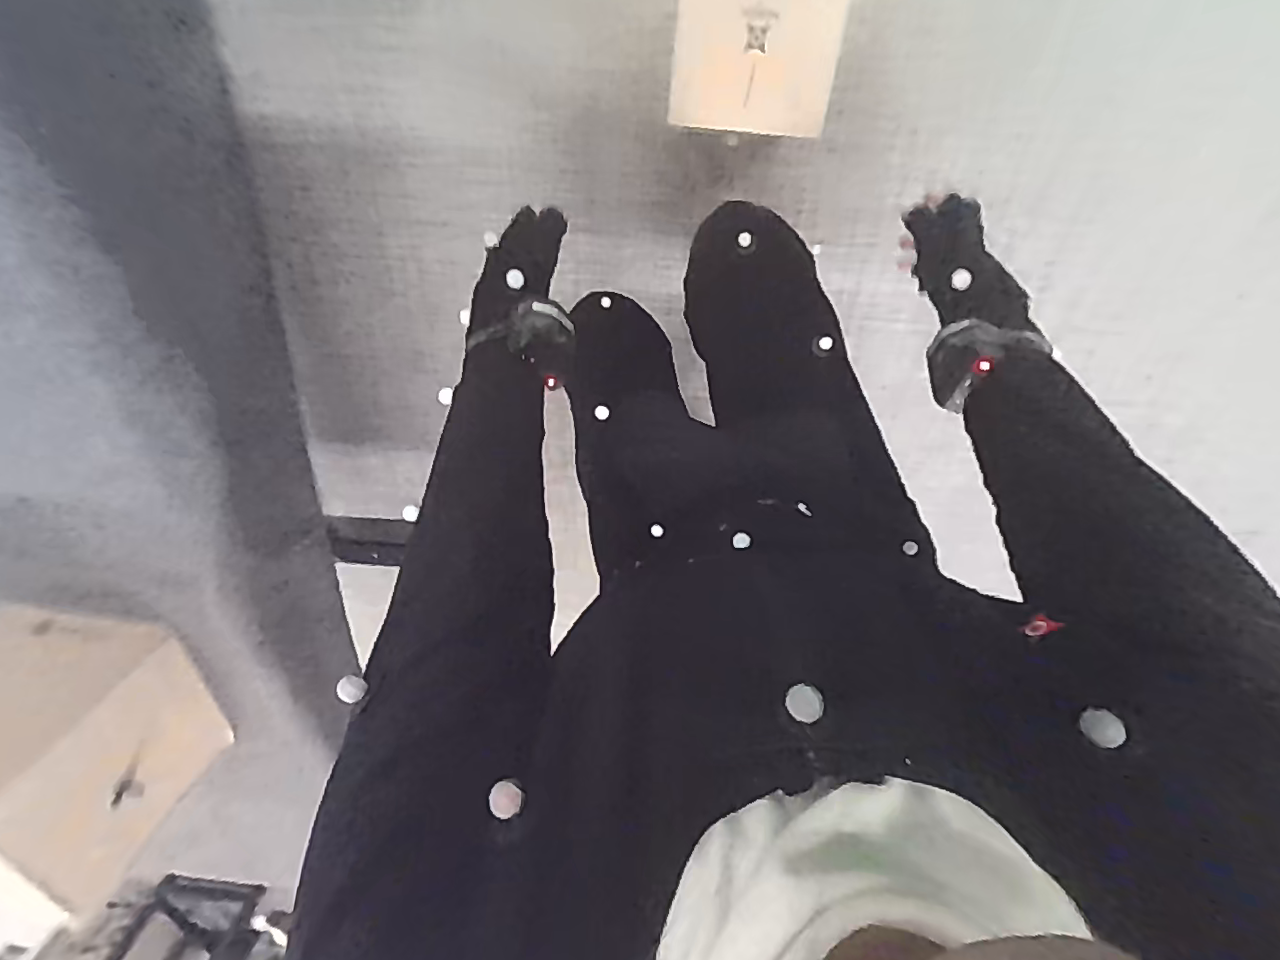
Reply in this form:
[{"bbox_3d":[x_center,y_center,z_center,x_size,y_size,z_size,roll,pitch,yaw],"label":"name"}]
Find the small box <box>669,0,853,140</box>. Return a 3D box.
[{"bbox_3d":[0.128,-0.489,0.596,0.168,0.176,0.179,9,125,3],"label":"small box"}]
